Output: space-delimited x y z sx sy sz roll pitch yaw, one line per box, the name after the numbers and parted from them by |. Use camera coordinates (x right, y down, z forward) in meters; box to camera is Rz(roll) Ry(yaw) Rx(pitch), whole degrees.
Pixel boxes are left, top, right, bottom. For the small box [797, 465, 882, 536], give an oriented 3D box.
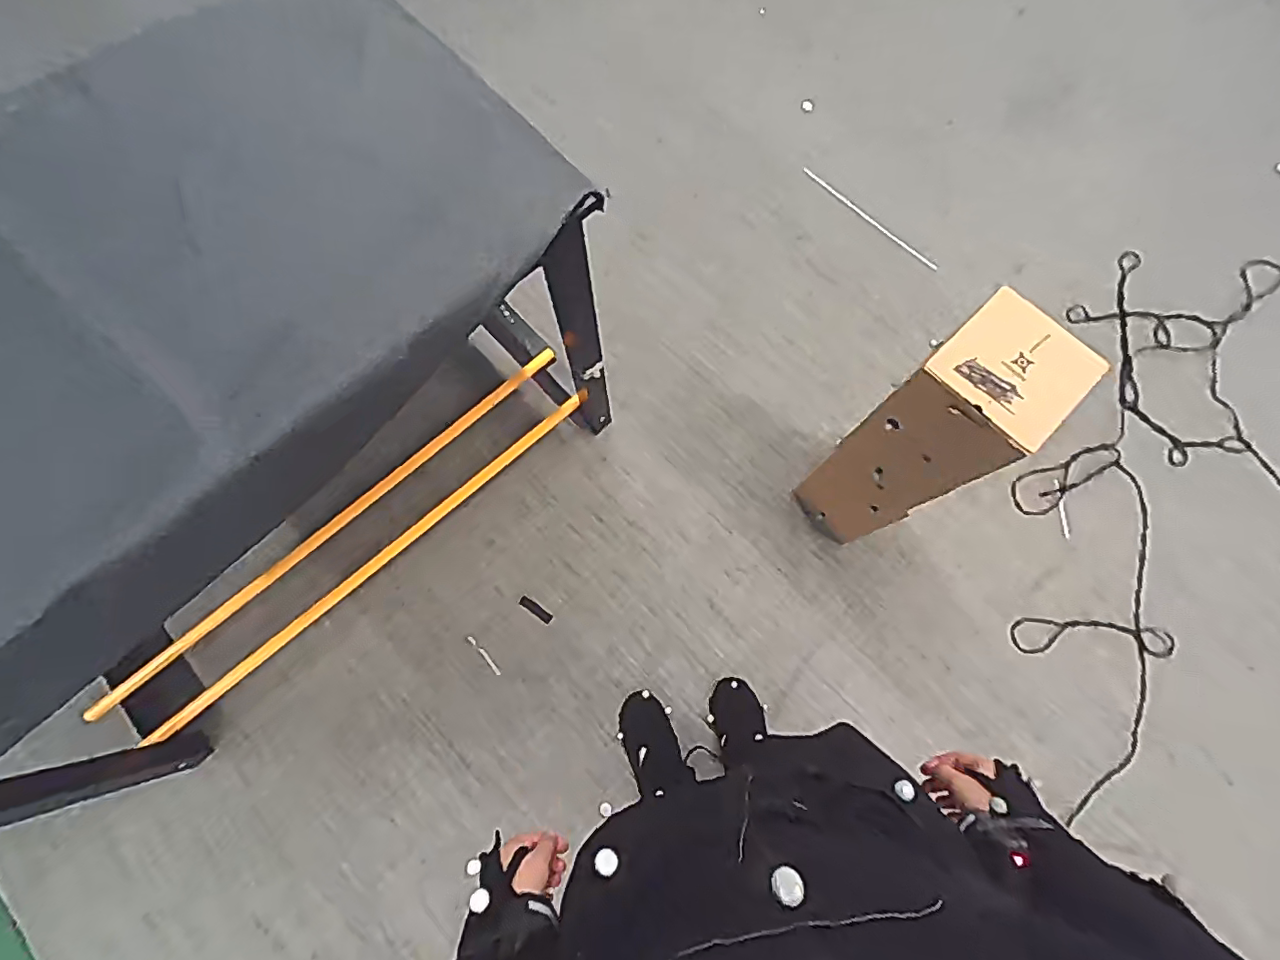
0.489 0.012 1.222 0.168 0.176 0.179 -39 79 -10 | small box

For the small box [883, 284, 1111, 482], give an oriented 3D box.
0.470 -0.122 0.749 0.179 0.176 0.168 -42 79 -12 | small box

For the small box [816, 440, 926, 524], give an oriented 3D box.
0.483 -0.030 1.065 0.168 0.176 0.179 -42 78 -11 | small box

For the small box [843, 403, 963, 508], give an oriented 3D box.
0.477 -0.079 0.907 0.179 0.176 0.168 -40 78 -10 | small box
